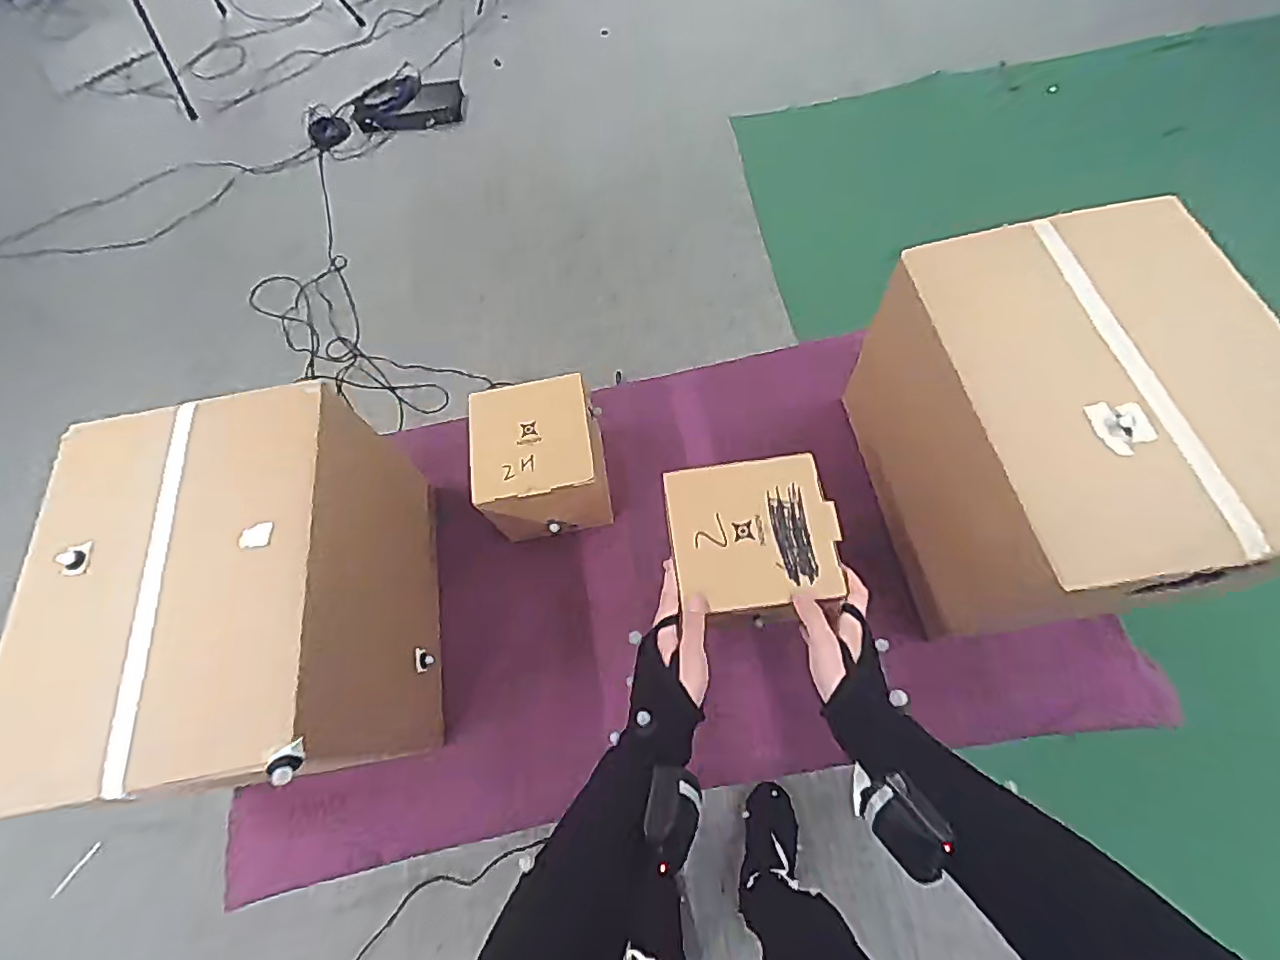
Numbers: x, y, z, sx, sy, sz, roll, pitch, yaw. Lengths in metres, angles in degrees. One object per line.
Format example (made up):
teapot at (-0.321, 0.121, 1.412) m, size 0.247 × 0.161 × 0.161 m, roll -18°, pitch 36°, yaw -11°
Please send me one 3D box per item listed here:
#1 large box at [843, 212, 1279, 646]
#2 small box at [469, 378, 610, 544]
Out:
large box at (0.493, -0.041, 0.666) m, size 0.320 × 0.320 × 0.408 m, roll -11°, pitch 65°, yaw 3°
small box at (-0.143, -0.022, 0.801) m, size 0.168 × 0.176 × 0.179 m, roll -10°, pitch 65°, yaw 2°
